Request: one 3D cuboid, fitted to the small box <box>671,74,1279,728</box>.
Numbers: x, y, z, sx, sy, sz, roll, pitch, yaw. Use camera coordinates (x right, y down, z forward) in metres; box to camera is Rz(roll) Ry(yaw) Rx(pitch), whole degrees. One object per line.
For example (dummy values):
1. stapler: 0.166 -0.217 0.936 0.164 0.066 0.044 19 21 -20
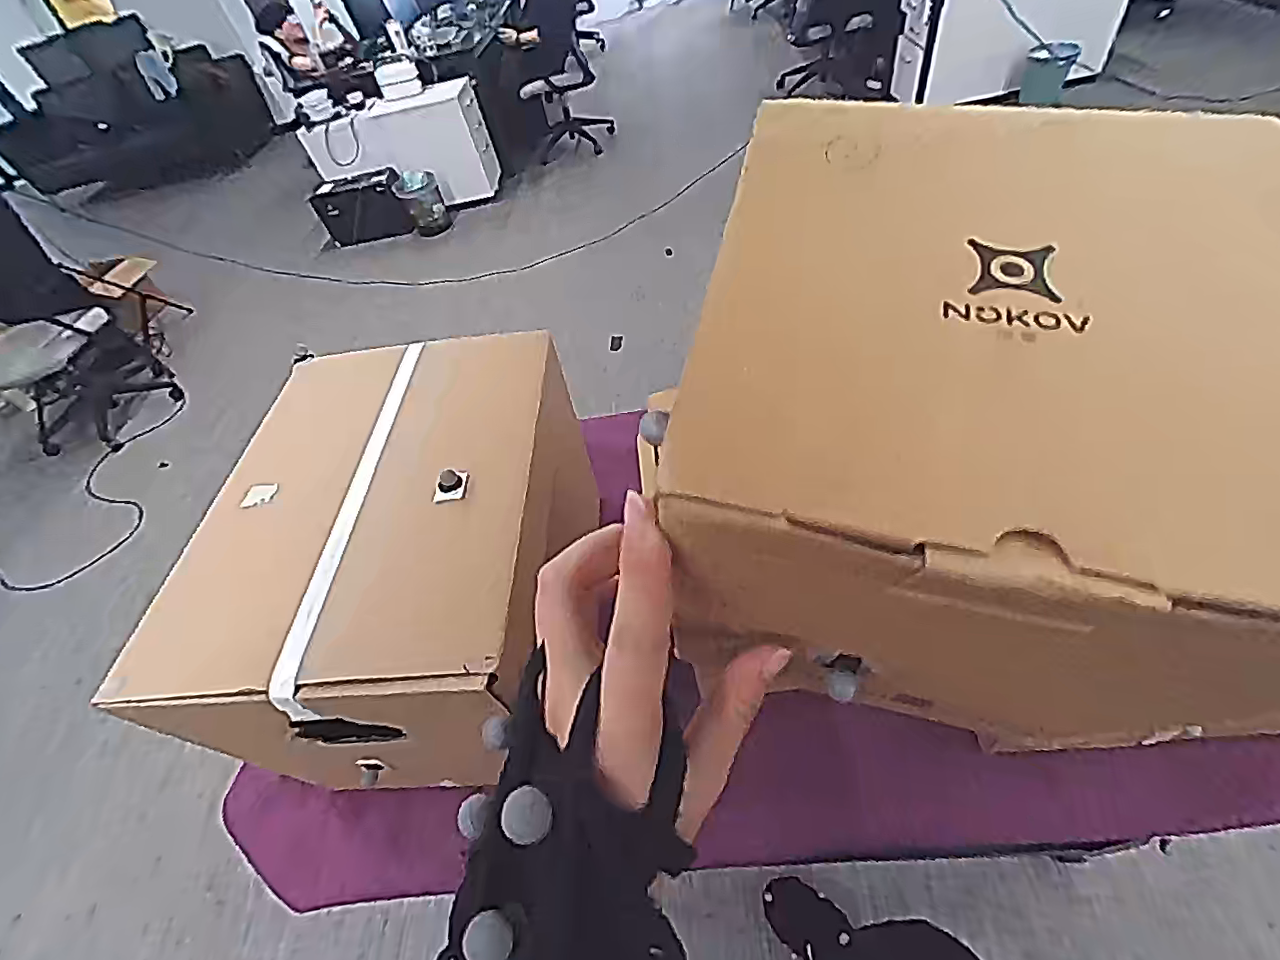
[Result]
1. small box: 0.110 -0.020 0.213 0.168 0.176 0.179 10 62 11
